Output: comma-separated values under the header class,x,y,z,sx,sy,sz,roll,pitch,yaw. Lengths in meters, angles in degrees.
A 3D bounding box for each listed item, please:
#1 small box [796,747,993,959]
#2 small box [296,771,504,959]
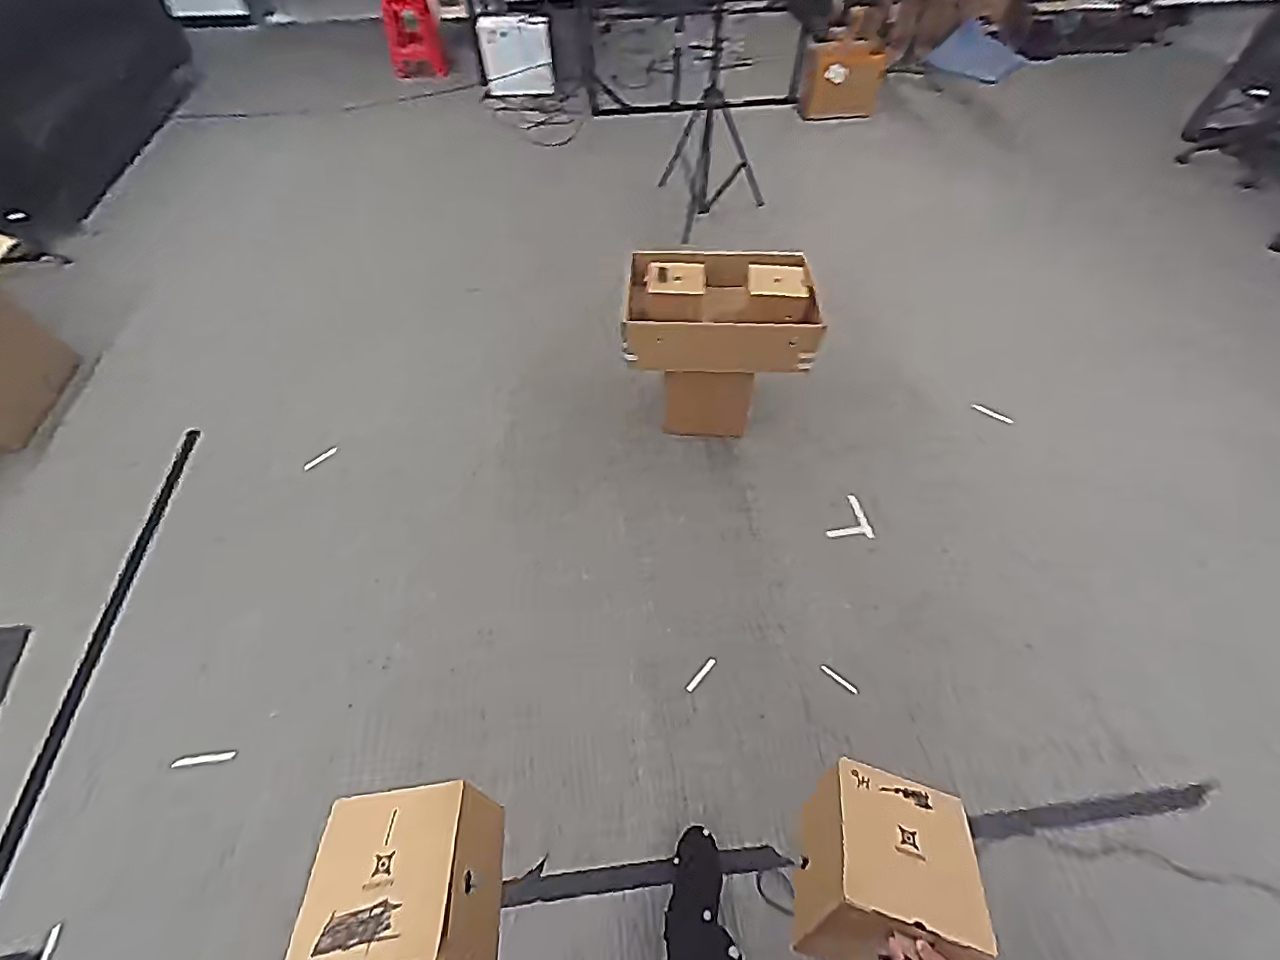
class,x,y,z,sx,sy,sz,roll,pitch,yaw
small box,0.307,0.491,0.692,0.168,0.176,0.179,17,35,8
small box,-0.274,0.485,0.666,0.168,0.176,0.179,-9,47,1
